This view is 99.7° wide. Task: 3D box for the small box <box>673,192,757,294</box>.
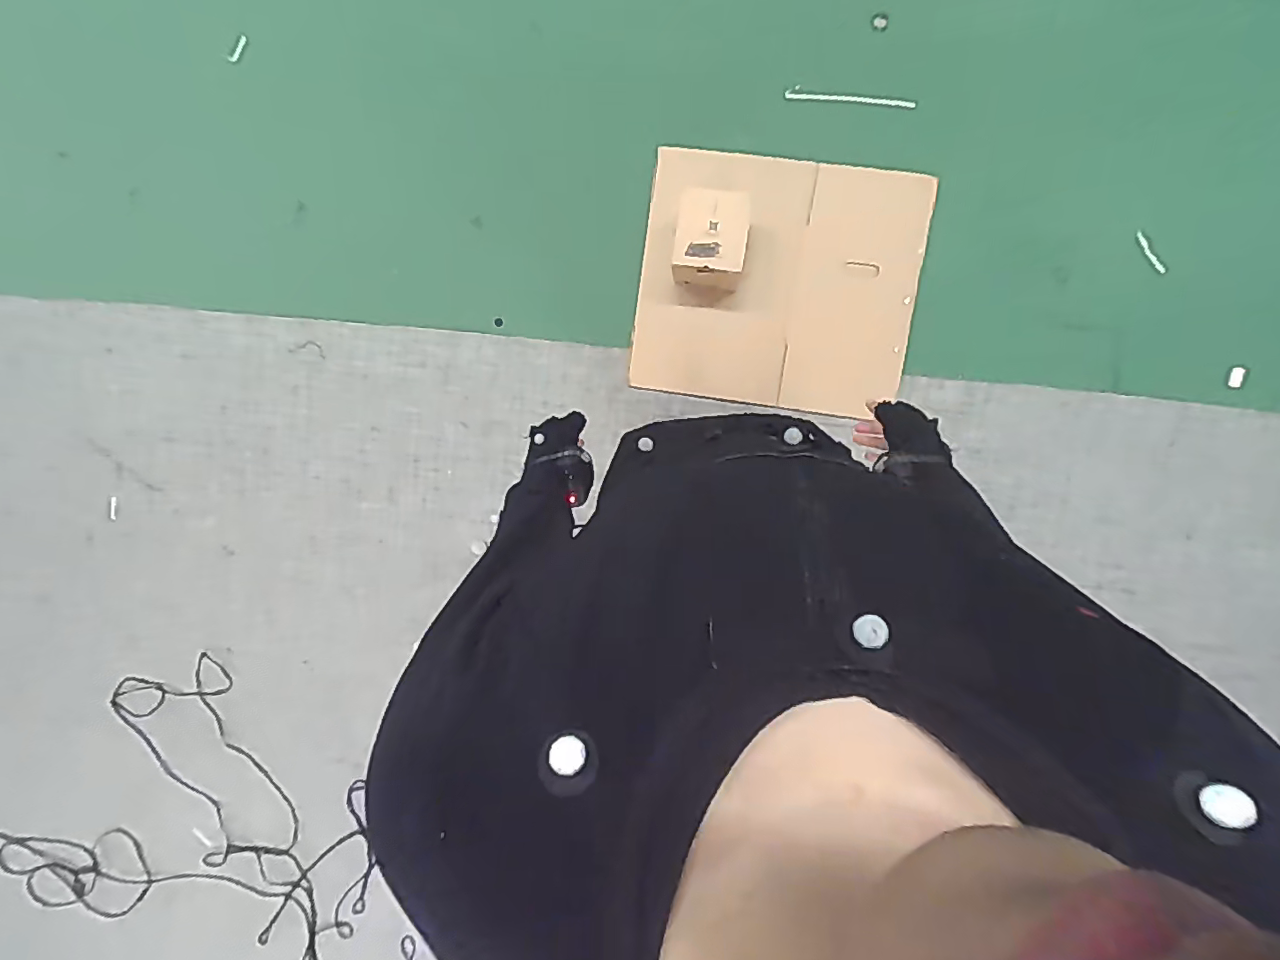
[{"bbox_3d":[0.180,-0.562,1.307,0.168,0.176,0.179,10,95,5],"label":"small box"}]
